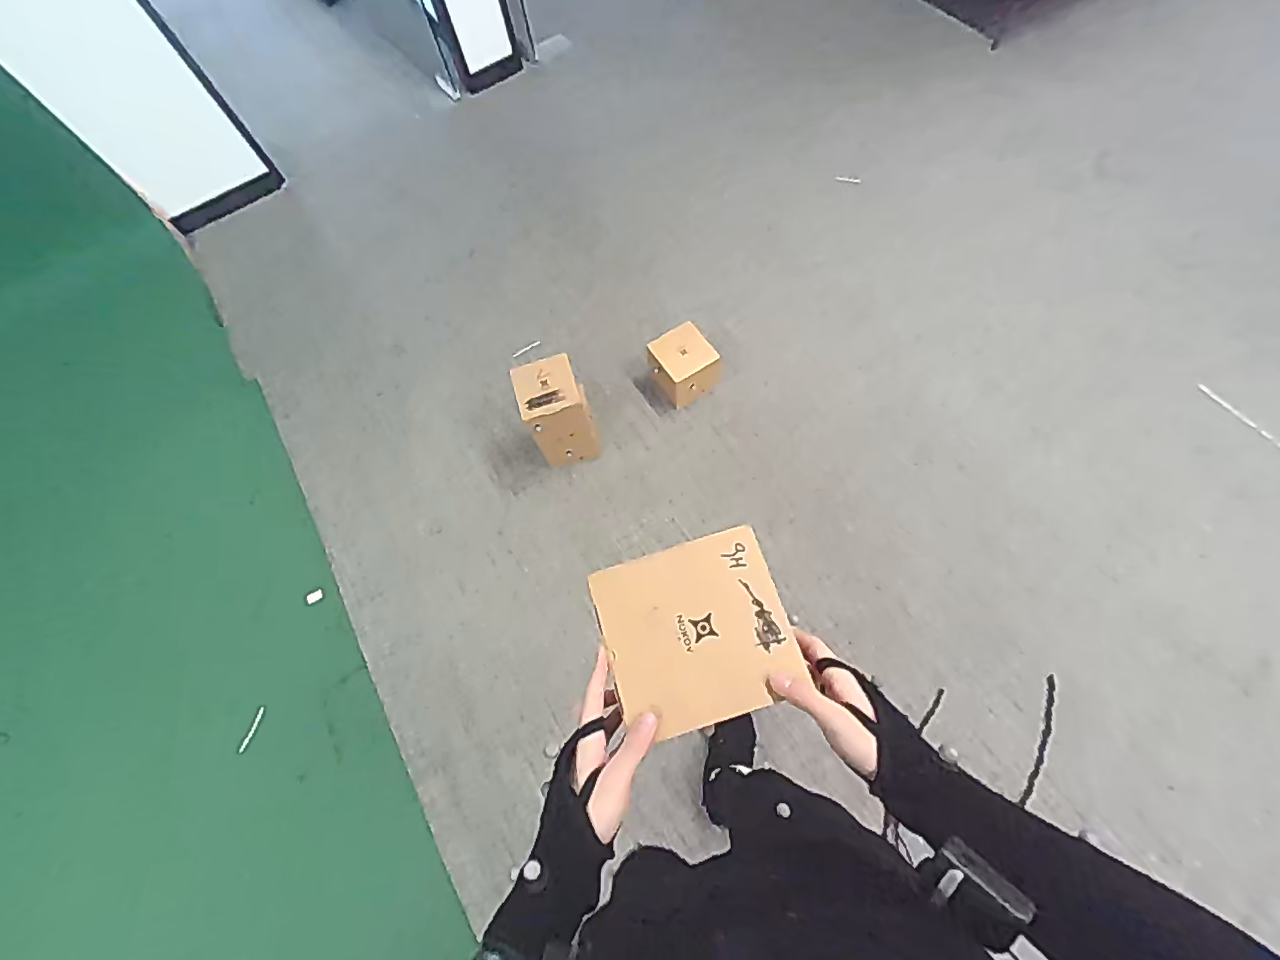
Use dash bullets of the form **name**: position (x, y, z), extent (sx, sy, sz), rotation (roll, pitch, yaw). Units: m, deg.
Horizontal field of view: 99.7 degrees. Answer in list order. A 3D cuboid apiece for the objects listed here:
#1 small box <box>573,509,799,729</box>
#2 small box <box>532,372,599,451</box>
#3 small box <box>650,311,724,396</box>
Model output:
- **small box**: position (0.044, 0.149, 0.568), extent (0.179, 0.176, 0.168), rotation (-15, 70, -1)
- **small box**: position (-0.226, -0.202, 1.663), extent (0.168, 0.176, 0.179), rotation (-11, 67, 0)
- **small box**: position (0.149, -0.391, 1.710), extent (0.168, 0.176, 0.179), rotation (-30, 68, -7)
